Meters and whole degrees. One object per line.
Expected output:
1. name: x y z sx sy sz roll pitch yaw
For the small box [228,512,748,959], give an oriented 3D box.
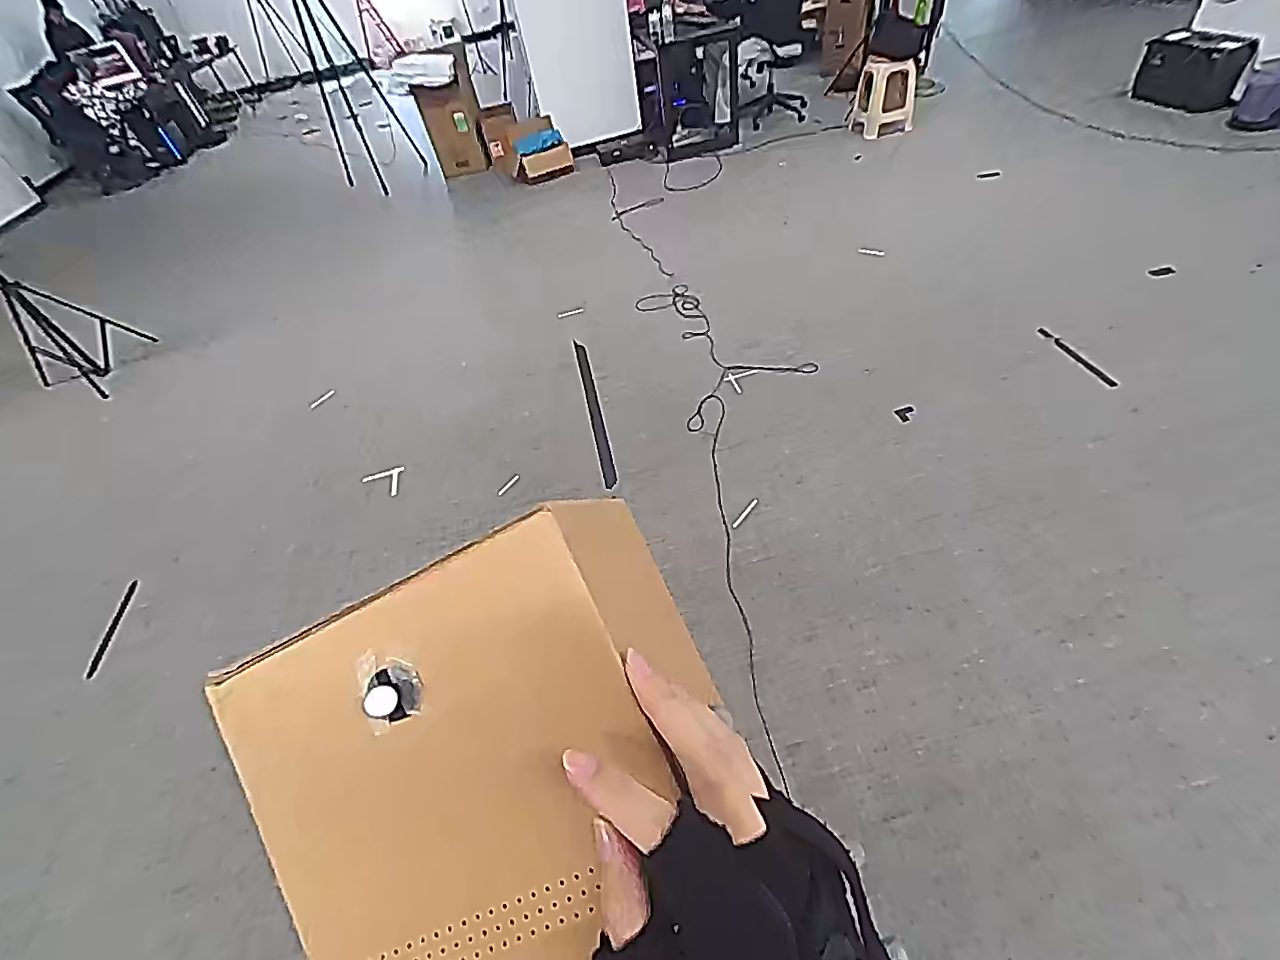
1. small box: -0.059 0.131 0.295 0.179 0.168 0.176 -26 85 7
